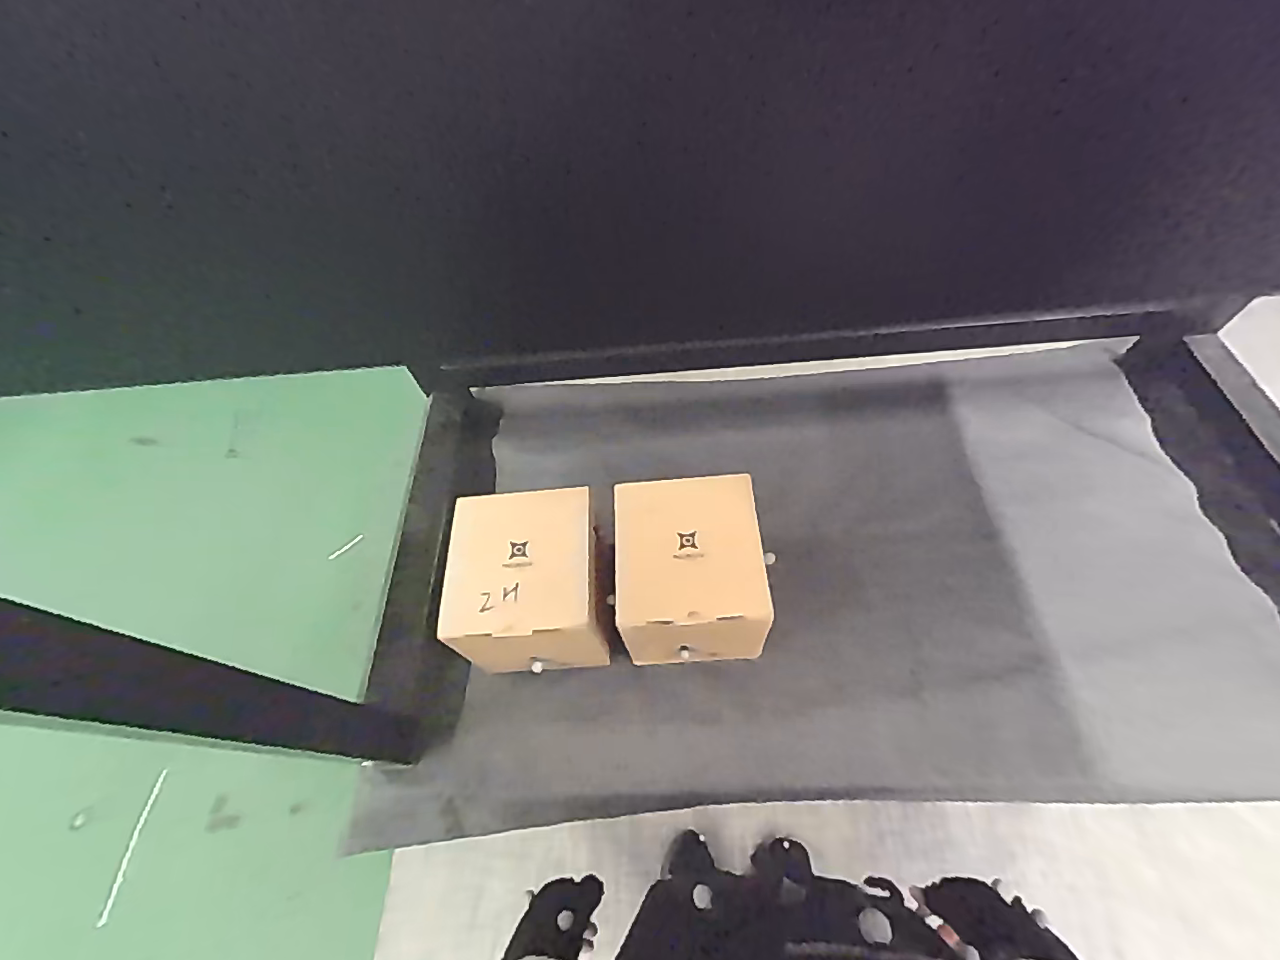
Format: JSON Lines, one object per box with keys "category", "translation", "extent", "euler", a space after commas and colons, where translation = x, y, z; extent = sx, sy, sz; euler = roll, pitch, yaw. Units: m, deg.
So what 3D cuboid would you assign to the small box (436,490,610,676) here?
{"category": "small box", "translation": [-0.132, 0.134, 0.680], "extent": [0.168, 0.176, 0.179], "euler": [-6, 58, 4]}
